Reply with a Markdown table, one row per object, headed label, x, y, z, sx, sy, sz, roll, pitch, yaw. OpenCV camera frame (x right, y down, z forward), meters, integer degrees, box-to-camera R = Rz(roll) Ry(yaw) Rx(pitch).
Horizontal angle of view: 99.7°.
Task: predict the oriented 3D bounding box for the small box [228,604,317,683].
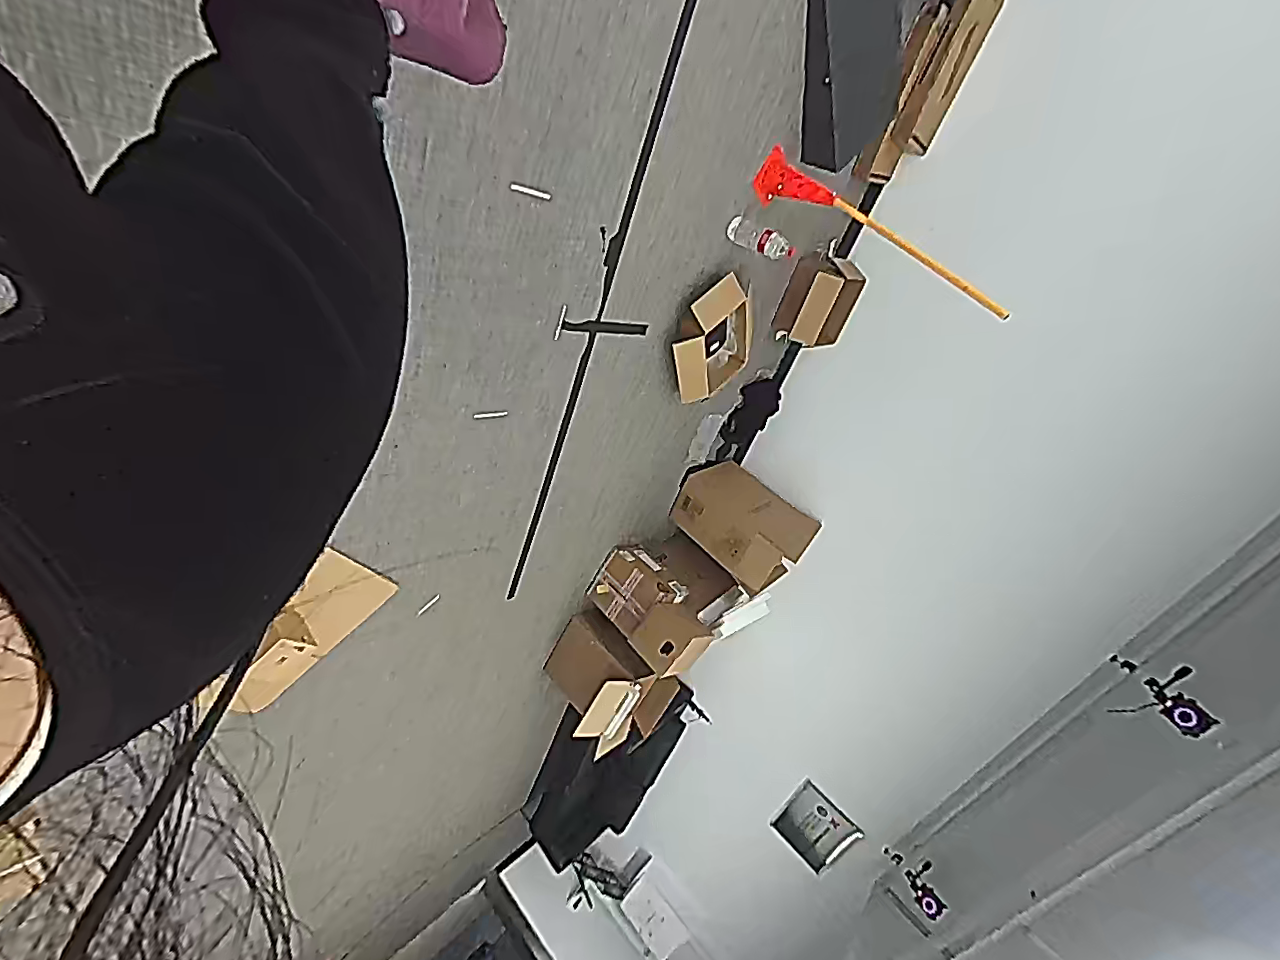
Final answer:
| label | x | y | z | sx | sy | sz | roll | pitch | yaw |
| --- | --- | --- | --- | --- | --- | --- | --- | --- | --- |
| small box | -1.257 | 0.557 | 1.843 | 0.179 | 0.176 | 0.168 | -43 | 152 | -10 |
